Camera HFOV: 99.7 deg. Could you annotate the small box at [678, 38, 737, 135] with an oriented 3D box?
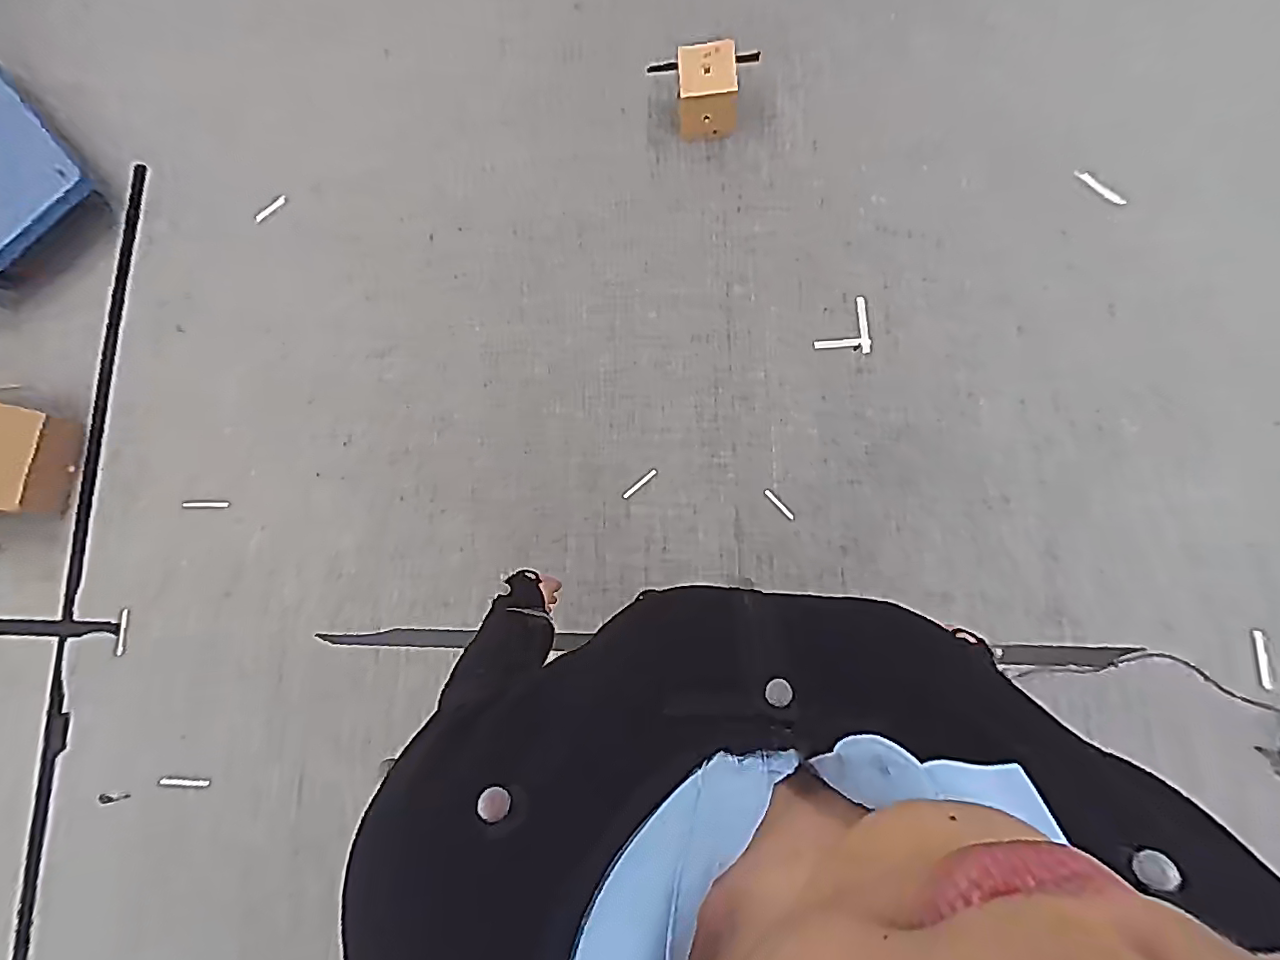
[{"bbox_3d":[0.204,-1.184,1.646,0.168,0.176,0.179,-3,80,5],"label":"small box"}]
